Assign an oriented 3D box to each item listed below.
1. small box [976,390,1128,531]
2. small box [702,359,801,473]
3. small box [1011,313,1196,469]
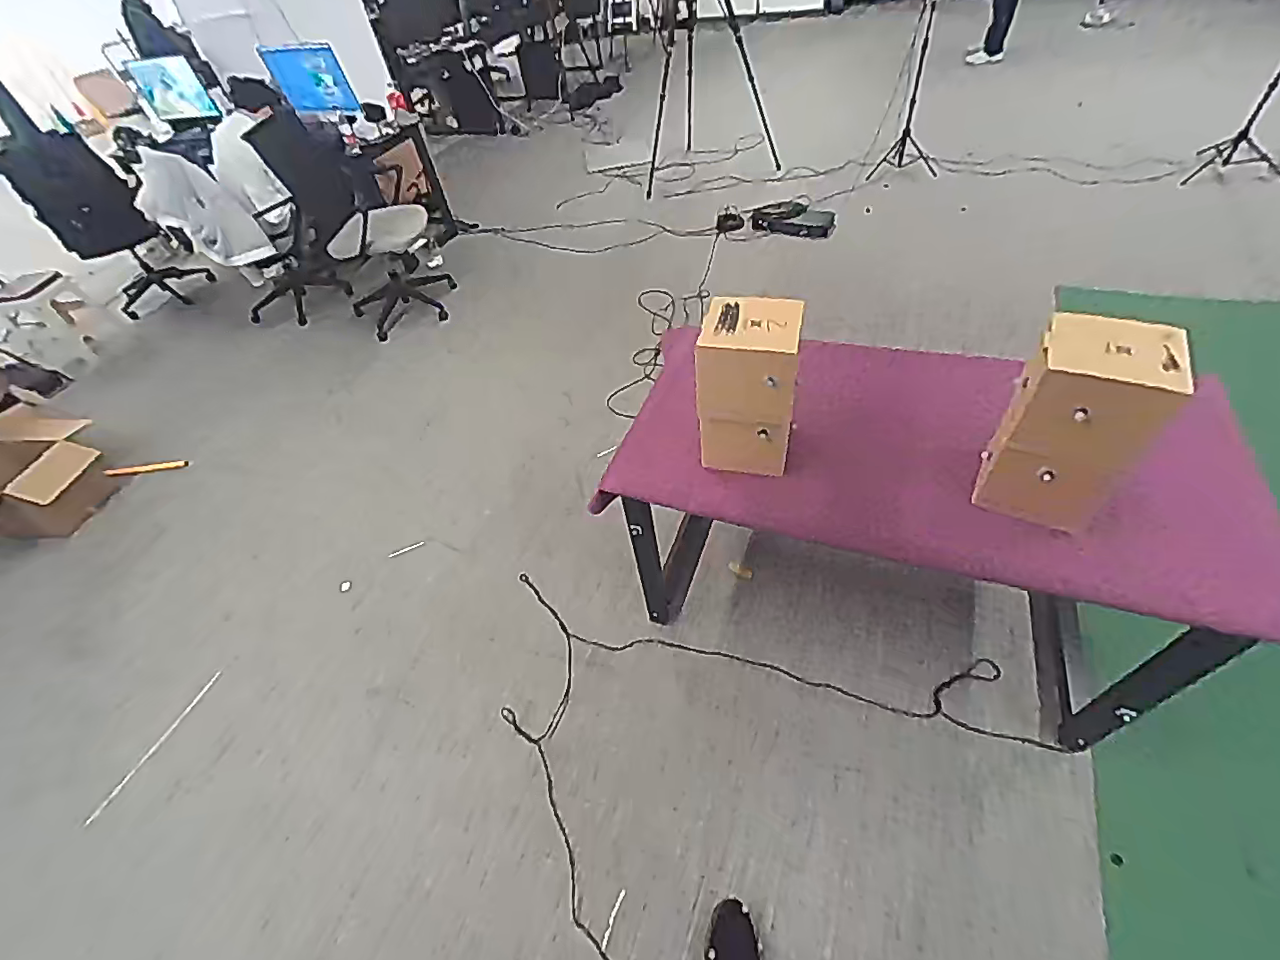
[{"bbox_3d":[0.747,-0.034,0.989,0.179,0.176,0.168,22,56,25],"label":"small box"},{"bbox_3d":[0.238,-0.135,1.156,0.179,0.176,0.168,8,50,16],"label":"small box"},{"bbox_3d":[0.727,-0.141,0.867,0.179,0.176,0.168,18,55,25],"label":"small box"}]
